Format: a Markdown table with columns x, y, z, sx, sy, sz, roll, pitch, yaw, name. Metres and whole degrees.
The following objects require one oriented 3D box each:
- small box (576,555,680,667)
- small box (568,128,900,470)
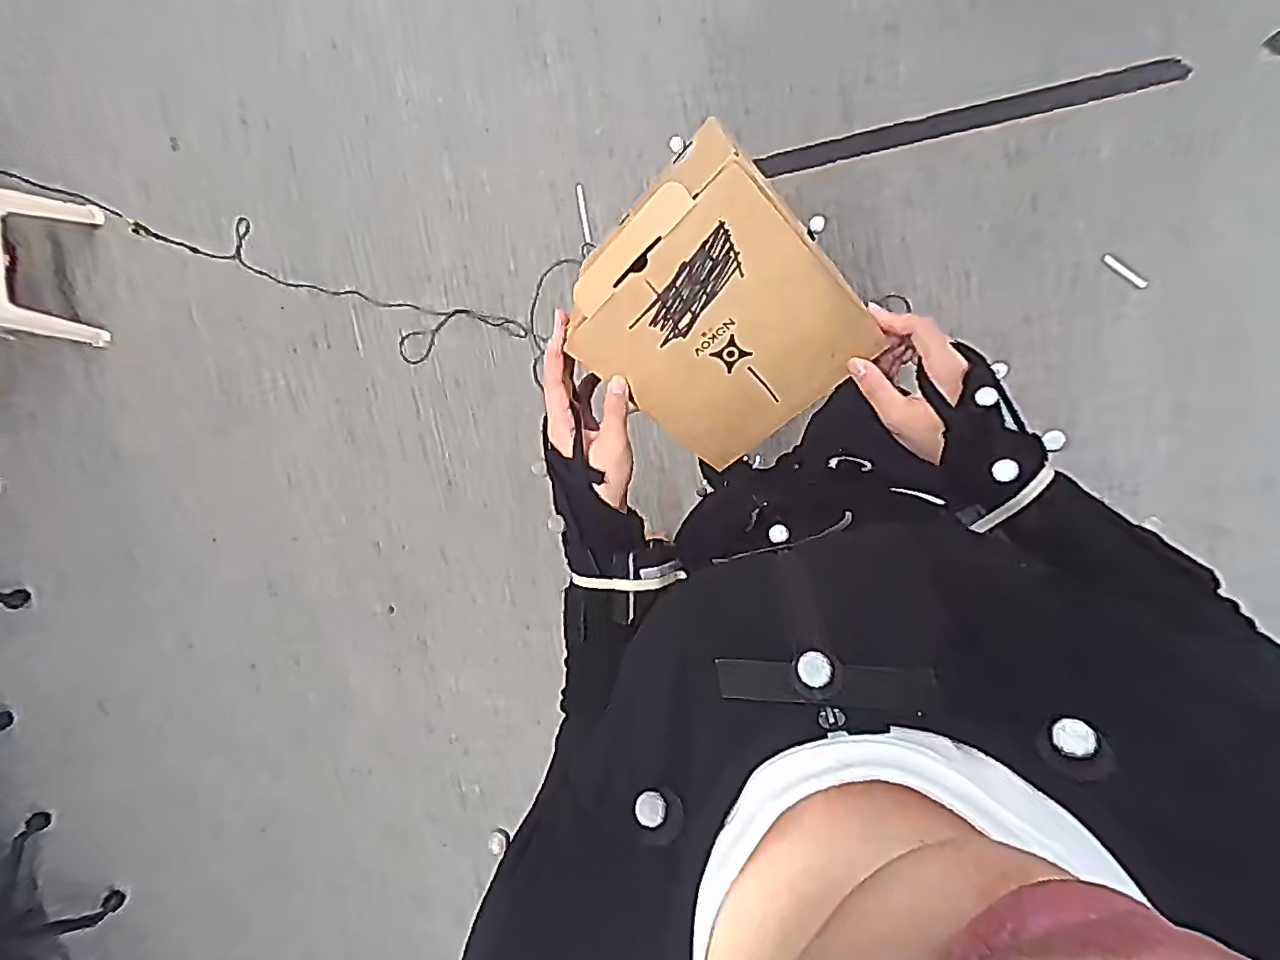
| x | y | z | sx | sy | sz | roll | pitch | yaw | name |
| --- | --- | --- | --- | --- | --- | --- | --- | --- | --- |
| -0.019 | 0.271 | 1.169 | 0.168 | 0.176 | 0.179 | -17 | 94 | 11 | small box |
| 0.066 | -0.148 | 0.437 | 0.179 | 0.176 | 0.168 | 36 | 122 | -26 | small box |
